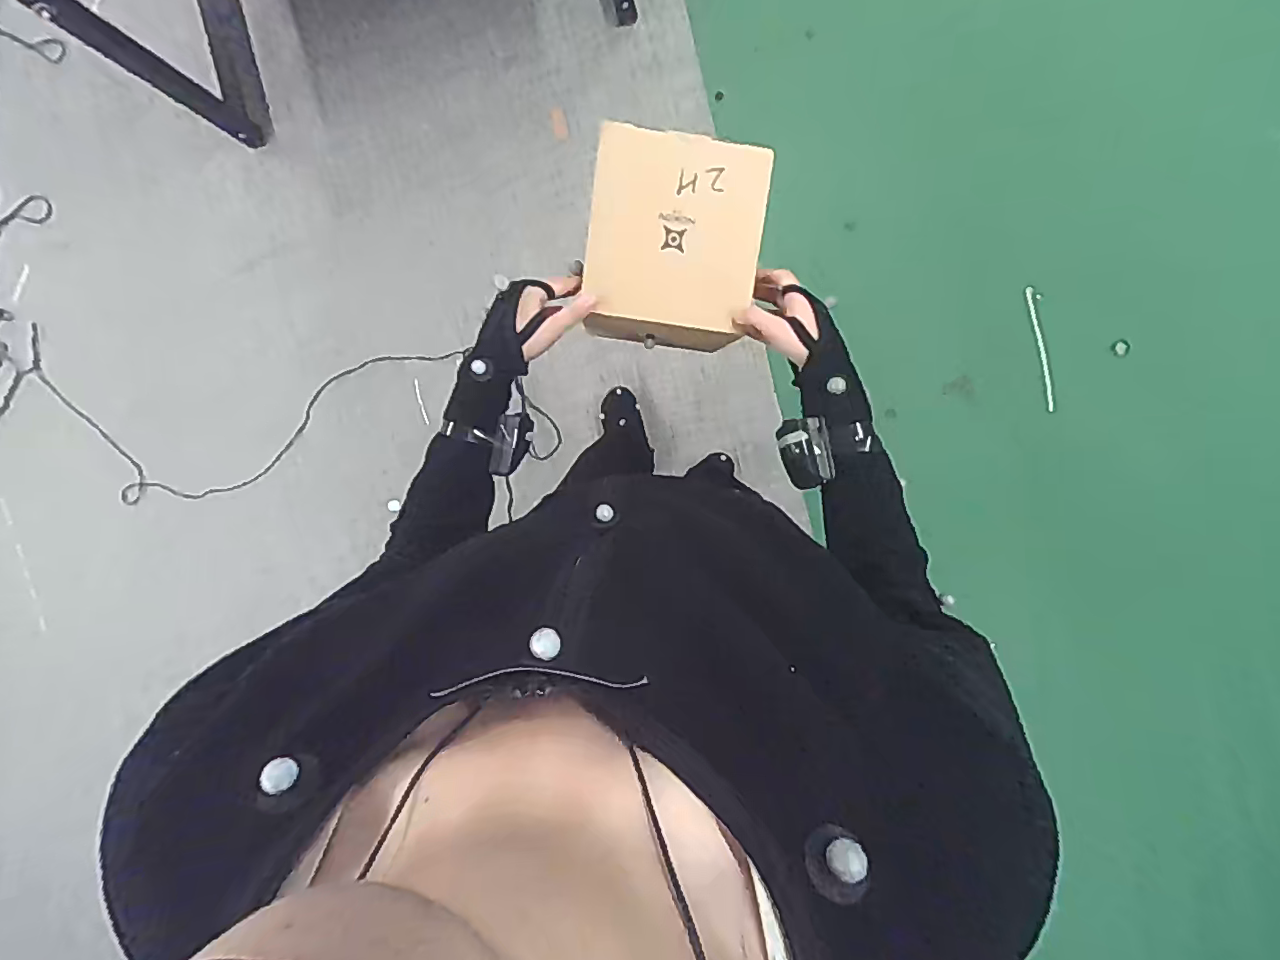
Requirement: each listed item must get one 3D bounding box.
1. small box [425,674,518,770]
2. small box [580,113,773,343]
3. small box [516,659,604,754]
[{"bbox_3d":[-0.463,0.672,1.524,0.179,0.176,0.168,-22,90,10],"label":"small box"},{"bbox_3d":[0.031,-0.253,0.589,0.168,0.176,0.179,7,96,-4],"label":"small box"},{"bbox_3d":[-0.208,0.611,1.479,0.179,0.176,0.168,-19,90,11],"label":"small box"}]
